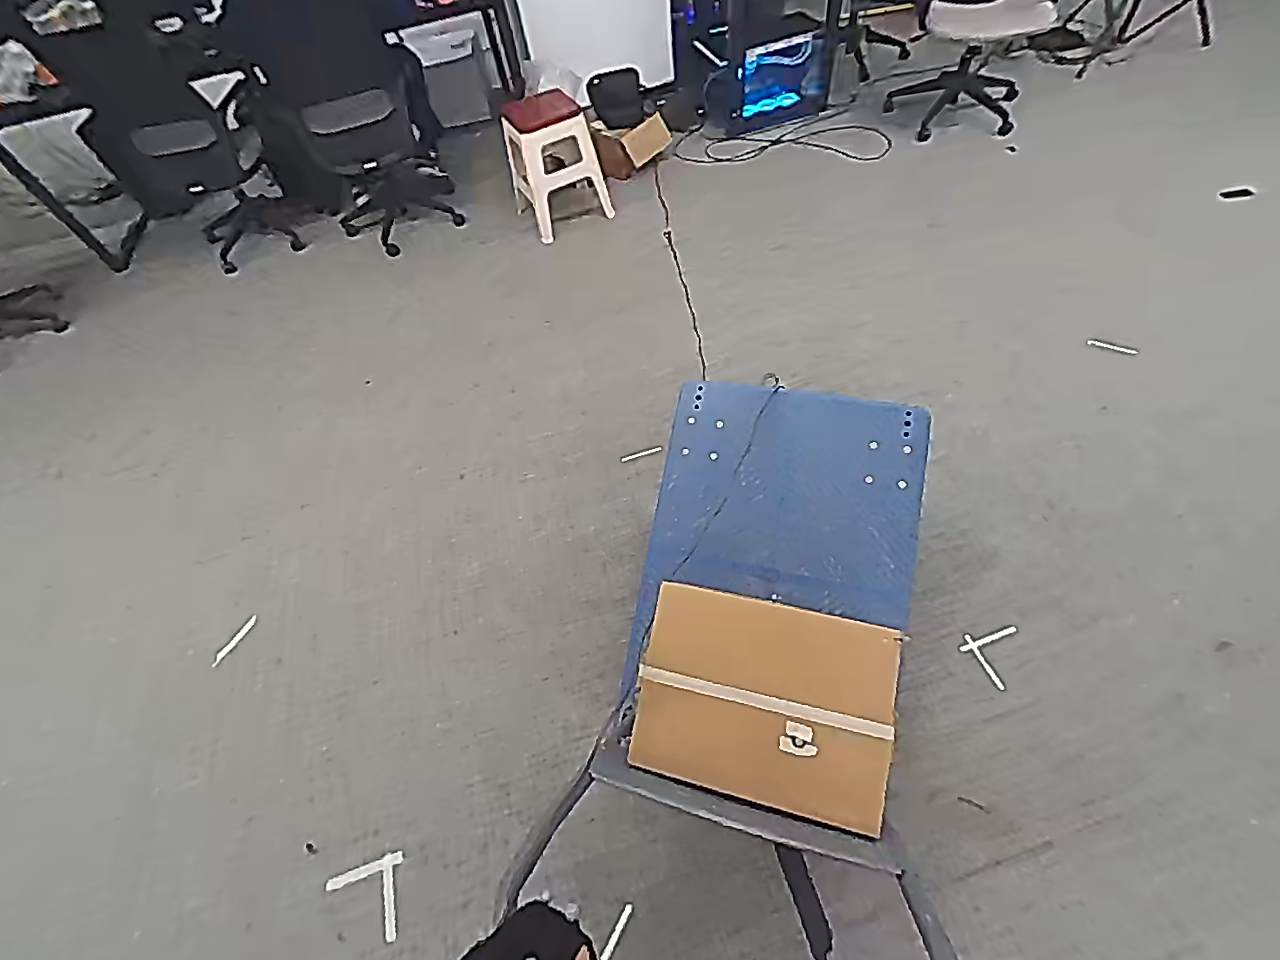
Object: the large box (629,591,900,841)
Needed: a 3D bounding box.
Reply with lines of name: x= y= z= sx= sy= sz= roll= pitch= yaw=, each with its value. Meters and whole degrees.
large box: x=0.225 y=0.399 z=1.022 sx=0.408 sy=0.320 sz=0.320 roll=9 pitch=81 yaw=13
